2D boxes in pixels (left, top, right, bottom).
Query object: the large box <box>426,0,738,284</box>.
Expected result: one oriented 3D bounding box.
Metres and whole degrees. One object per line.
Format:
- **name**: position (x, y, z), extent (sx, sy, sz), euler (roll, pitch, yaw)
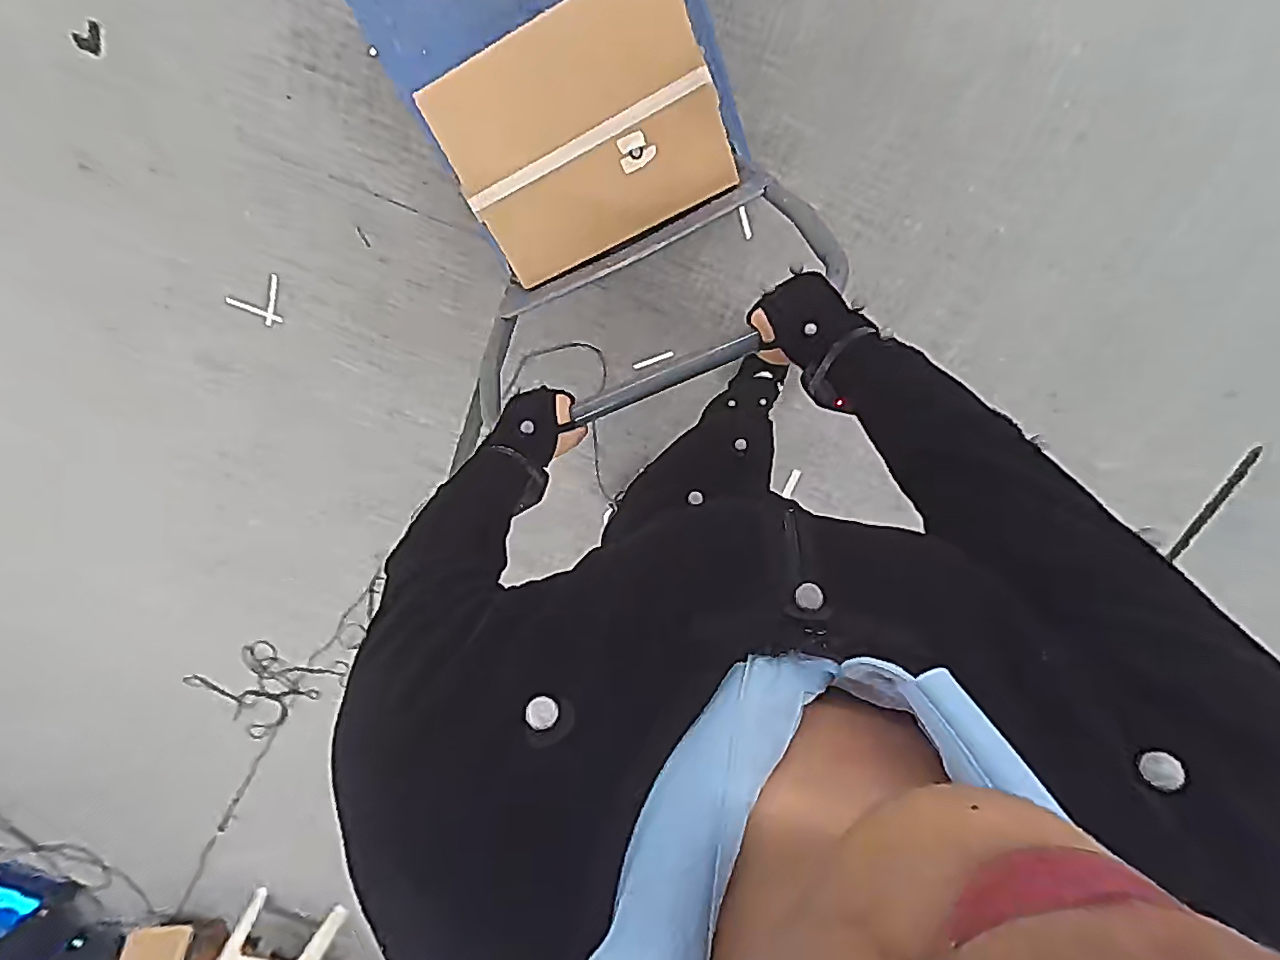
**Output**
- **large box**: position (-0.091, -0.618, 0.964), extent (0.408, 0.320, 0.320), euler (-24, 124, 12)
